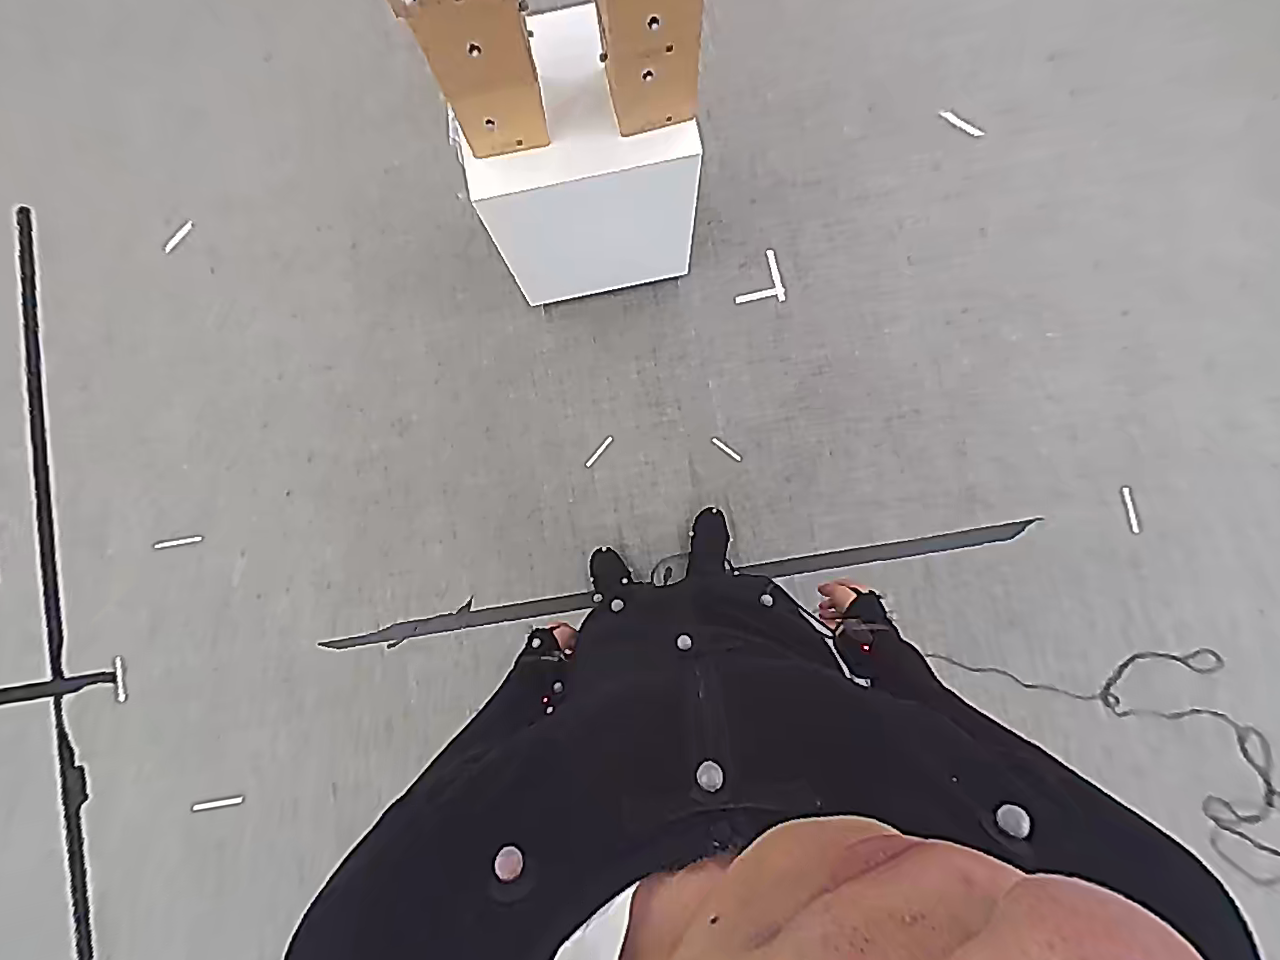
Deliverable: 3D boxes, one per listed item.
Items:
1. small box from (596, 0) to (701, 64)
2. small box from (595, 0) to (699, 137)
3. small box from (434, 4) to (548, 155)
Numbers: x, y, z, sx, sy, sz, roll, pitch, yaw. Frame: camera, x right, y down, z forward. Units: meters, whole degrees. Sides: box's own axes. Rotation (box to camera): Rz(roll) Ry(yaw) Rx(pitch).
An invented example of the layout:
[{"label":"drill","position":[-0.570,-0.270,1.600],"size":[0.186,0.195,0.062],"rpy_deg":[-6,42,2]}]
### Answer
[{"label":"small box","position":[0.008,-0.850,0.912],"size":[0.168,0.176,0.179],"rpy_deg":[-13,84,1]},{"label":"small box","position":[0.014,-0.835,1.077],"size":[0.168,0.176,0.179],"rpy_deg":[-14,84,2]},{"label":"small box","position":[-0.290,-0.786,1.085],"size":[0.168,0.176,0.179],"rpy_deg":[-11,84,0]}]
